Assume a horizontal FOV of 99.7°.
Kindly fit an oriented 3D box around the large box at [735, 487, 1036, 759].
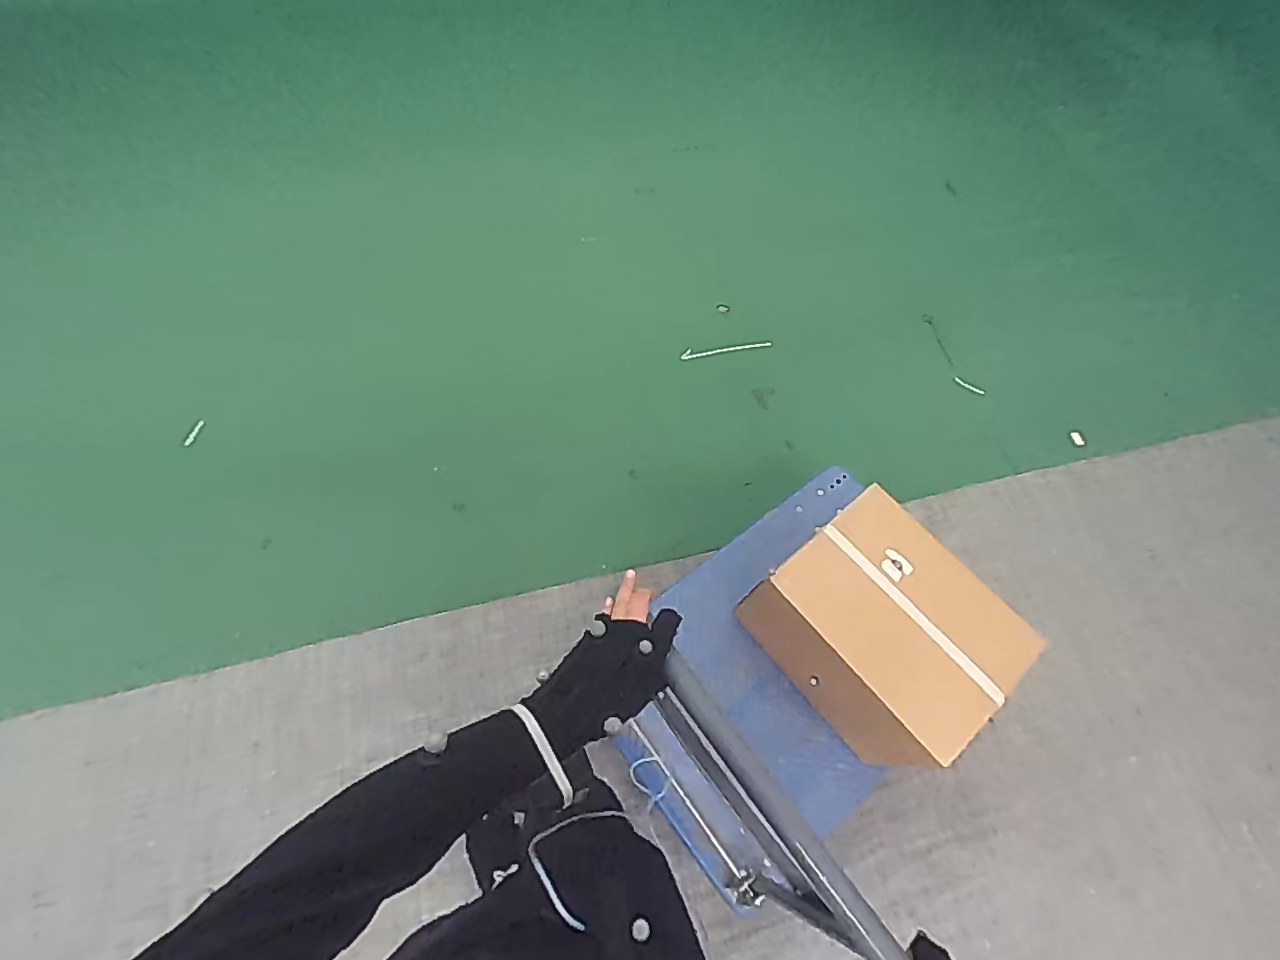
[{"bbox_3d":[0.465,0.299,1.116,0.320,0.320,0.408,-35,71,-19],"label":"large box"}]
